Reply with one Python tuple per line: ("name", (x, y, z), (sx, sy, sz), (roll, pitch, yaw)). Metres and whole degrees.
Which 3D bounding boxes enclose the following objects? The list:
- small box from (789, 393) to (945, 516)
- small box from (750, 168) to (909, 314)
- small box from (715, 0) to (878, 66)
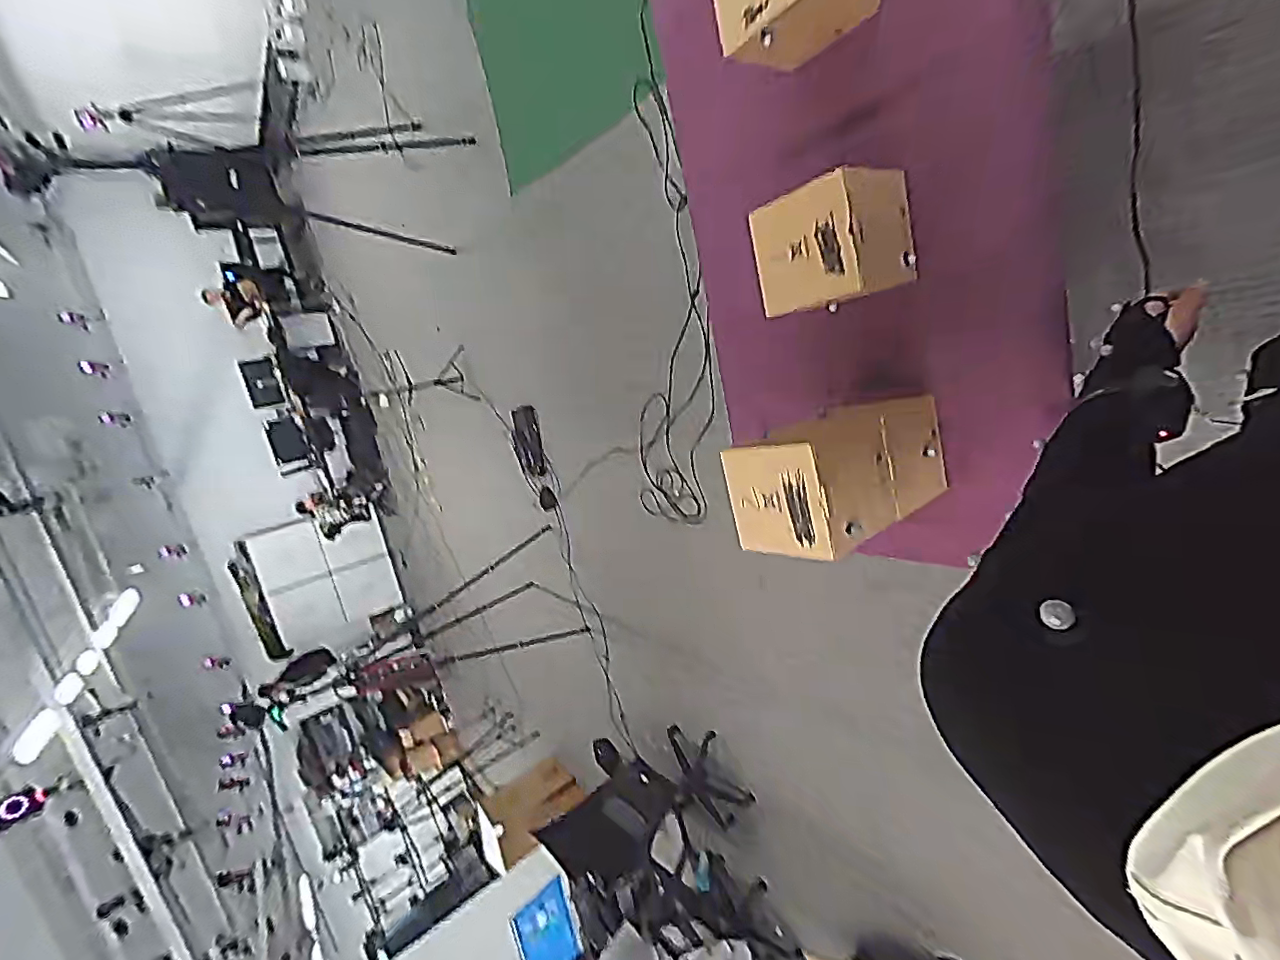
("small box", (0.388, -0.045, 0.925), (0.179, 0.176, 0.168), (-1, 106, 53))
("small box", (0.308, -0.377, 0.866), (0.179, 0.176, 0.168), (1, 108, 54))
("small box", (0.223, -0.751, 0.788), (0.168, 0.176, 0.179), (4, 110, 53))
